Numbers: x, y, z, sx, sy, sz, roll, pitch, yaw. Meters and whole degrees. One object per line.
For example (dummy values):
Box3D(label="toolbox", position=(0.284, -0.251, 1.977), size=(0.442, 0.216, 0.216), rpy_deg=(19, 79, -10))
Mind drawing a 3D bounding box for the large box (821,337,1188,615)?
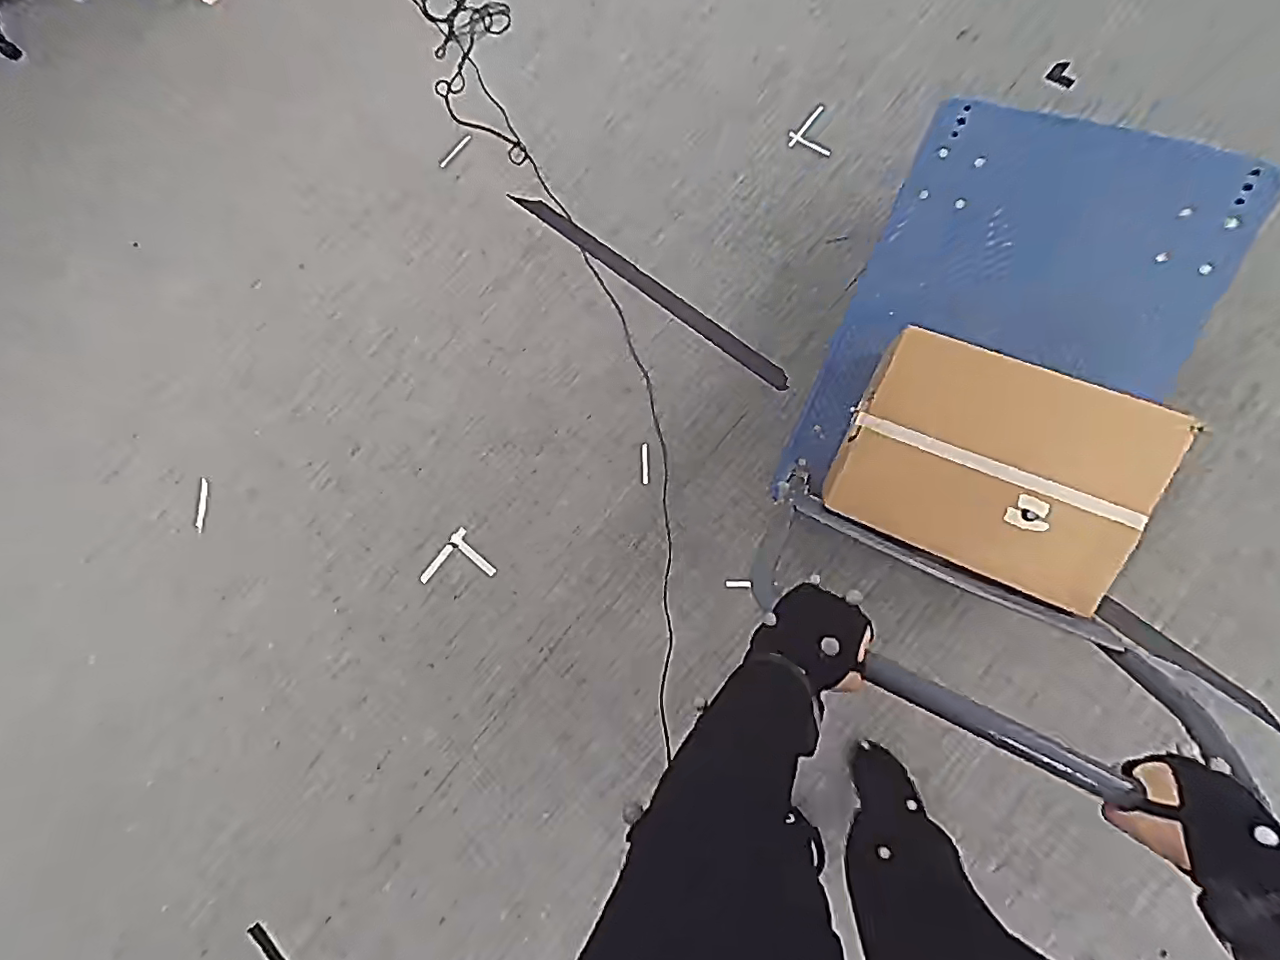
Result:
Box3D(label="large box", position=(0.579, -0.021, 0.969), size=(0.408, 0.320, 0.320), rpy_deg=(24, 101, 14))
